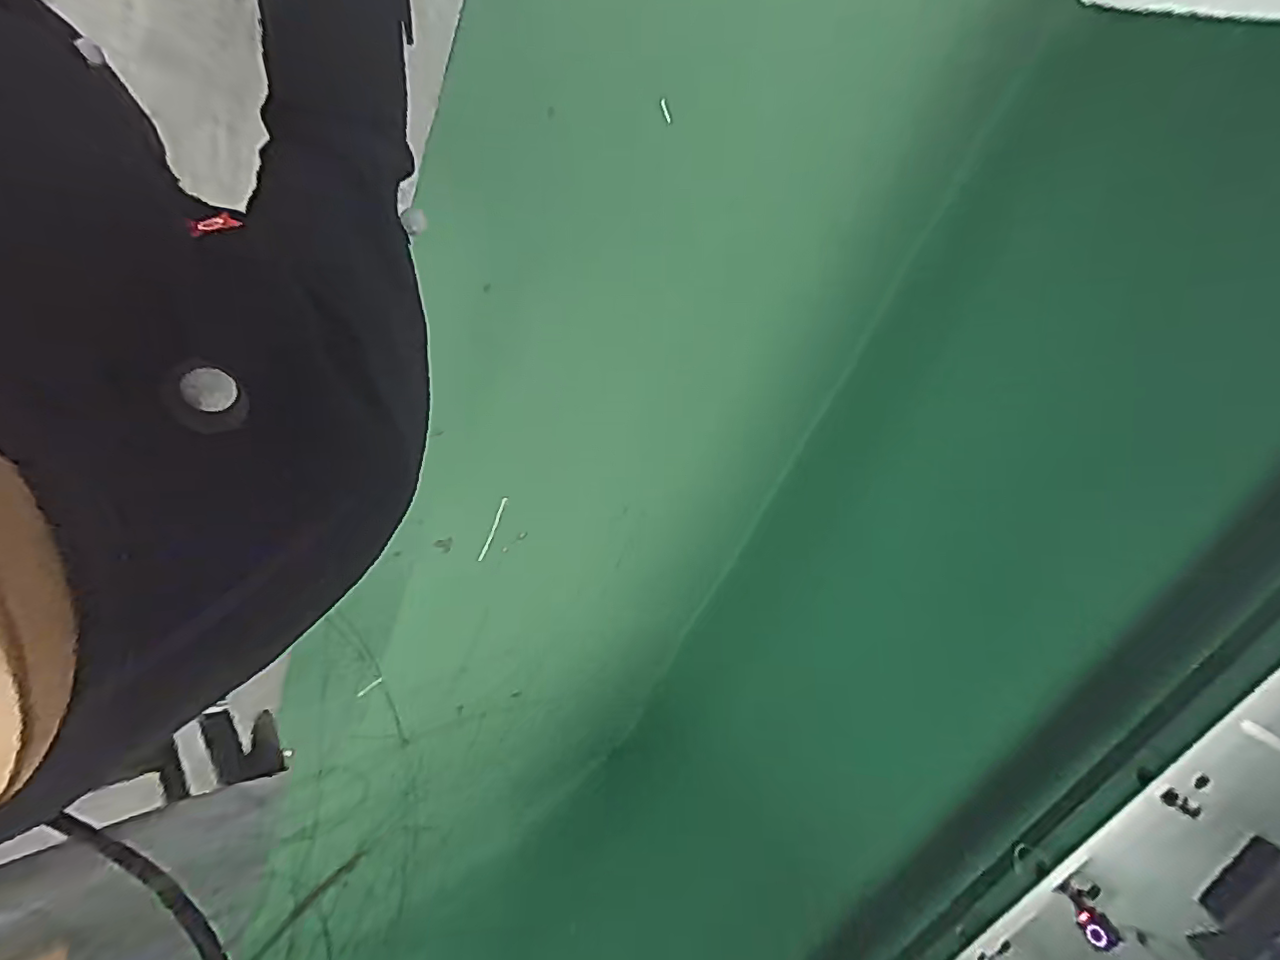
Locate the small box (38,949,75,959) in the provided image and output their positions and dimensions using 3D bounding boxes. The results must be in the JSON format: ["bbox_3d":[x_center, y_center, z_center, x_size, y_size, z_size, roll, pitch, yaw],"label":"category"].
[{"bbox_3d":[-1.017,0.923,0.871,0.168,0.176,0.179,-8,128,-49],"label":"small box"}]
